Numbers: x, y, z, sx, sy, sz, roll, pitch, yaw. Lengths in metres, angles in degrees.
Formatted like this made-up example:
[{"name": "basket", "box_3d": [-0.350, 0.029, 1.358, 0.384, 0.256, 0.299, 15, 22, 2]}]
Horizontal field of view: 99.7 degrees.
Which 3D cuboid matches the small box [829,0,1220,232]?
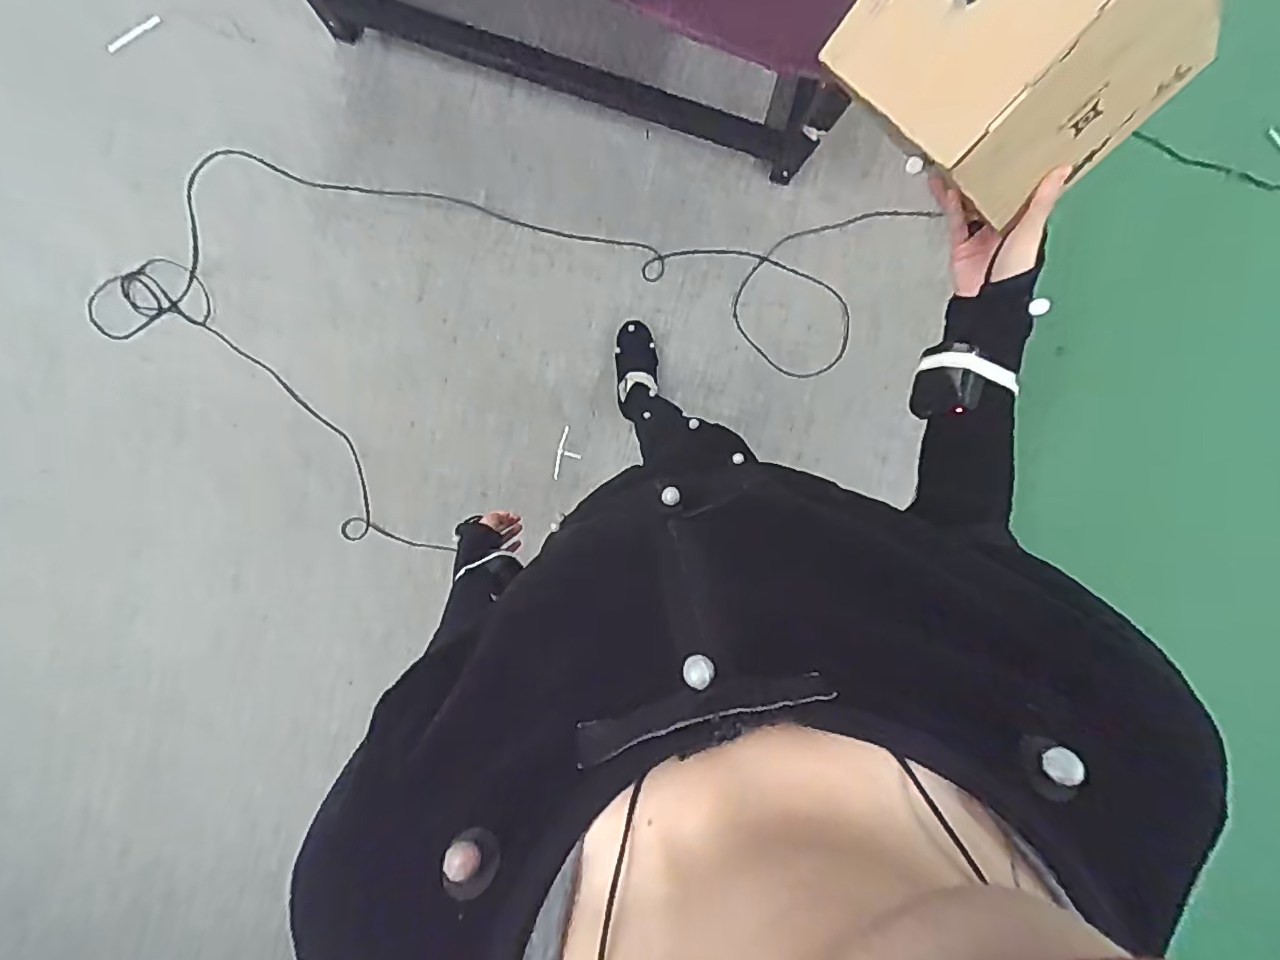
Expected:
[{"name": "small box", "box_3d": [0.284, -0.338, 0.421, 0.168, 0.179, 0.176, -47, 58, 36]}]
